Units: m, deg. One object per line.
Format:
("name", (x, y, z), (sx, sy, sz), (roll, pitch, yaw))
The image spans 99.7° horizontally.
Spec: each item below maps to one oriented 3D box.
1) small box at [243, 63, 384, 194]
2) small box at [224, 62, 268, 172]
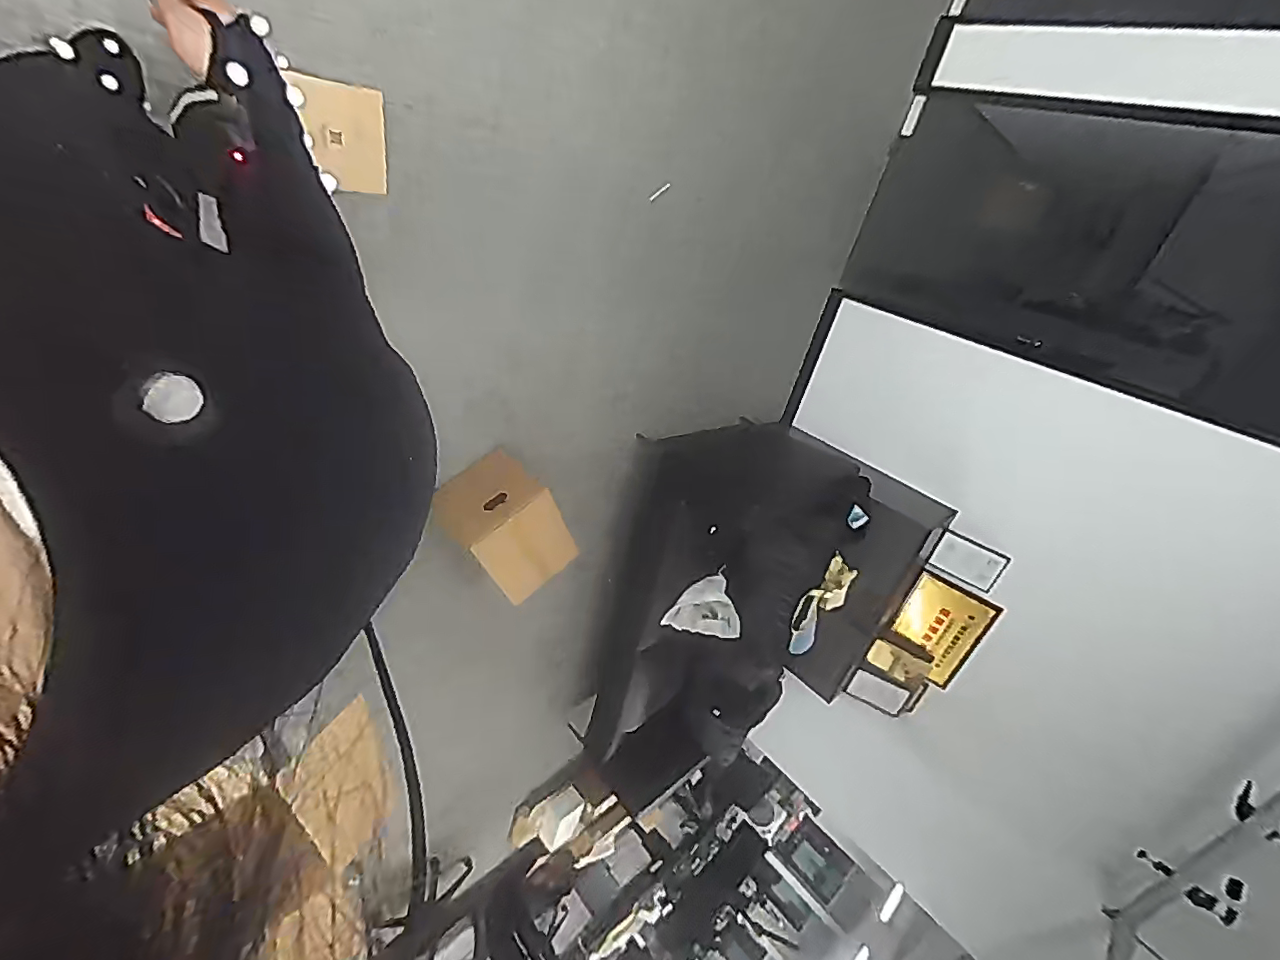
("small box", (-0.588, -0.632, 0.976), (0.179, 0.176, 0.168), (-21, 136, -41))
("small box", (-0.699, -0.705, 1.072), (0.179, 0.176, 0.168), (-16, 132, -42))
